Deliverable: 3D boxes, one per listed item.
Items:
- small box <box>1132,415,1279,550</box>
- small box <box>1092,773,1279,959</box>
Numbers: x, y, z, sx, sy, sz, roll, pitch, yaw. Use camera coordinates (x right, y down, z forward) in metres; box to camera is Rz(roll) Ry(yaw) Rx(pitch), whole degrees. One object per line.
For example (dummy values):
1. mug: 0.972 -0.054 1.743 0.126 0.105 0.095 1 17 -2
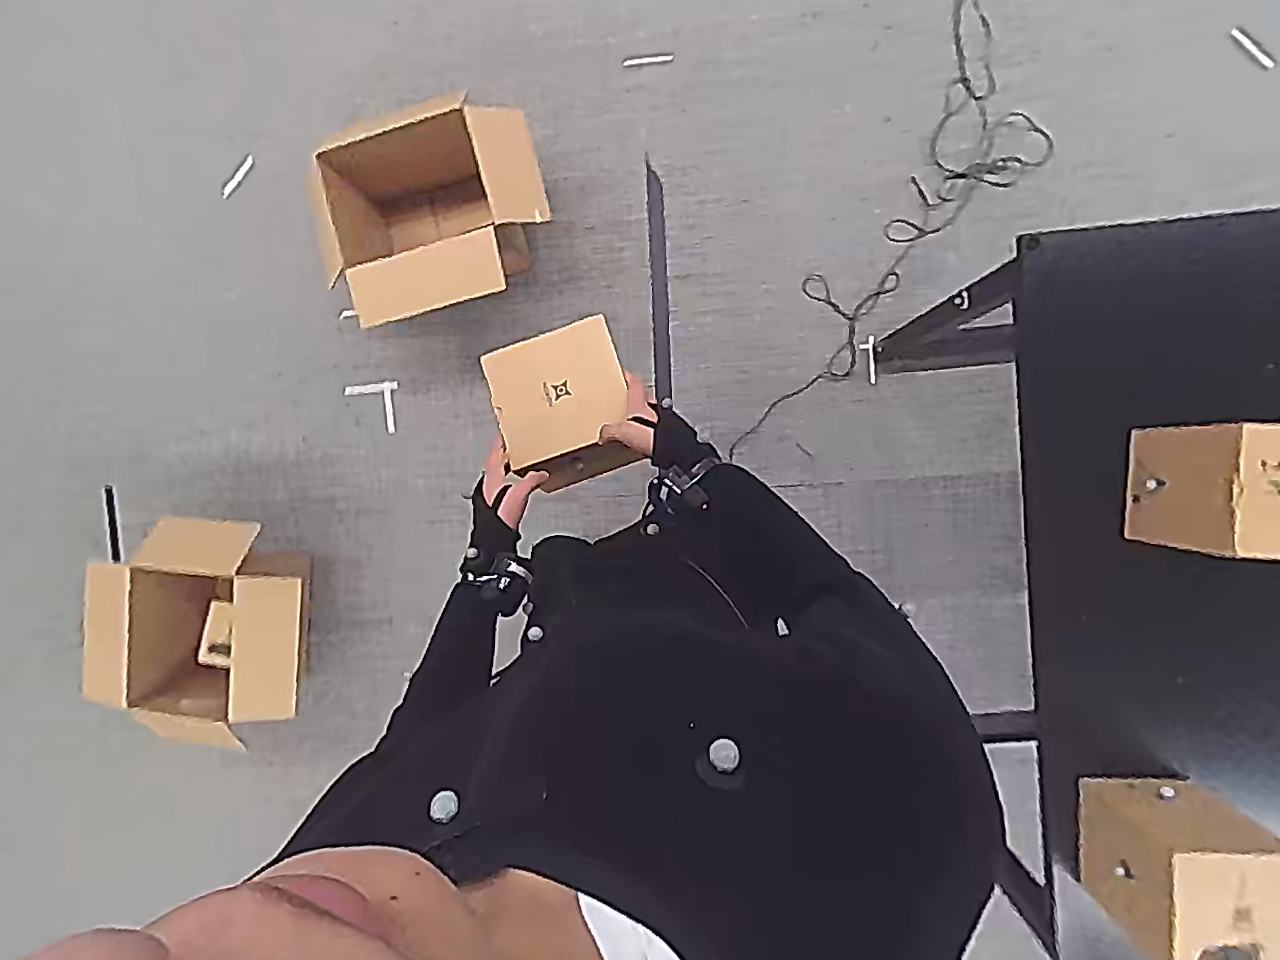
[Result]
1. small box: 0.827 0.002 0.727 0.179 0.176 0.168 2 92 5
2. small box: 0.774 0.542 0.752 0.168 0.176 0.179 -2 91 5
